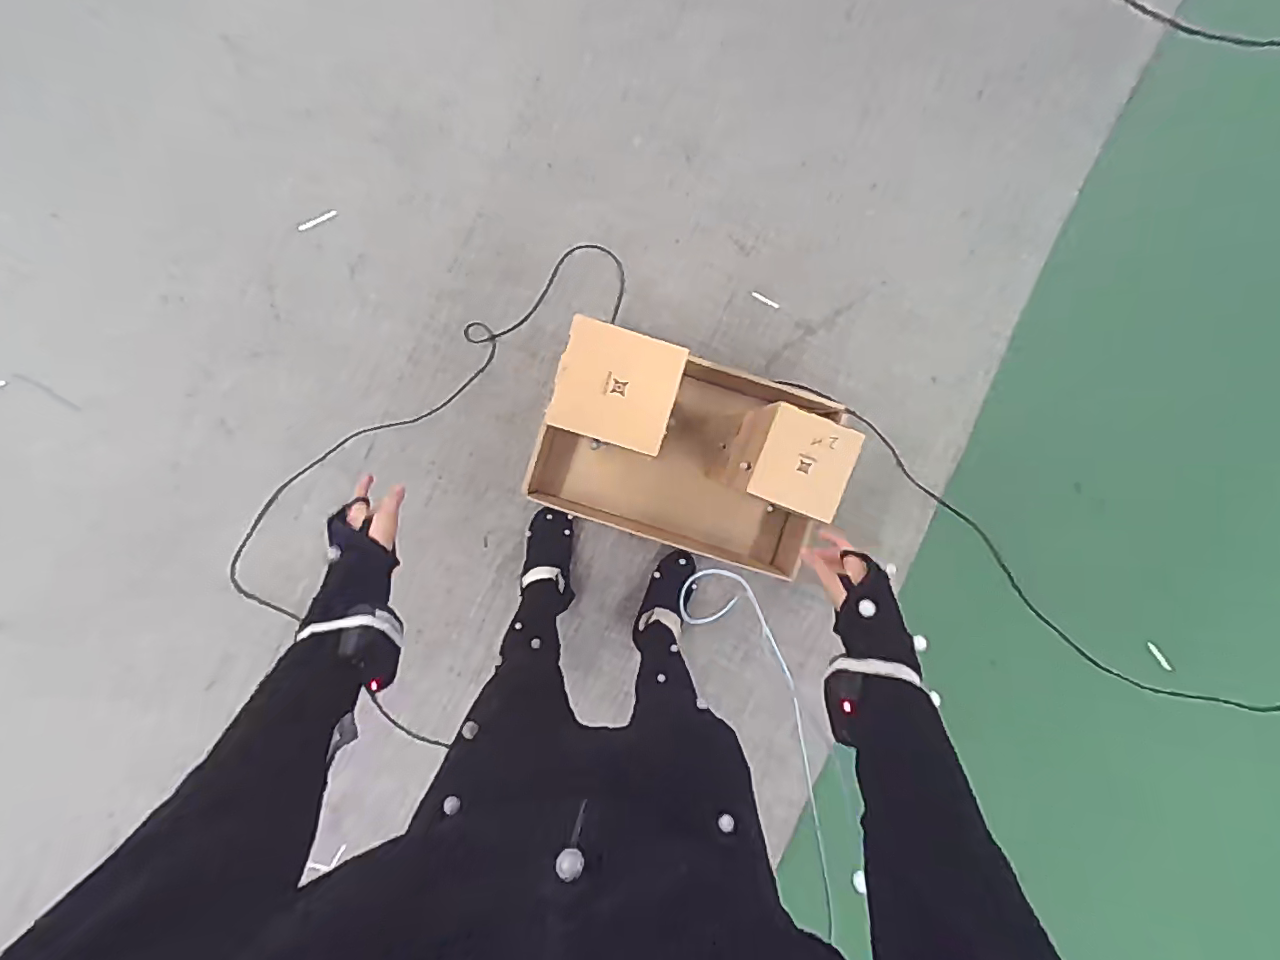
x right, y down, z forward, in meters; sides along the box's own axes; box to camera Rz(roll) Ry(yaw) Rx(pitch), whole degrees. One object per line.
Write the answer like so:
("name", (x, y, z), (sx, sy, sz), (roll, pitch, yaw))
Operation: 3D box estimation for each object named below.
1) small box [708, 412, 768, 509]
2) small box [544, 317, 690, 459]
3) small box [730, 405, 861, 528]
("small box", (0.266, -0.035, 1.203), (0.179, 0.176, 0.168), (22, 90, -2))
("small box", (-0.036, -0.138, 0.862), (0.179, 0.176, 0.168), (17, 92, -2))
("small box", (0.286, -0.024, 1.038), (0.168, 0.176, 0.179), (22, 90, -4))
